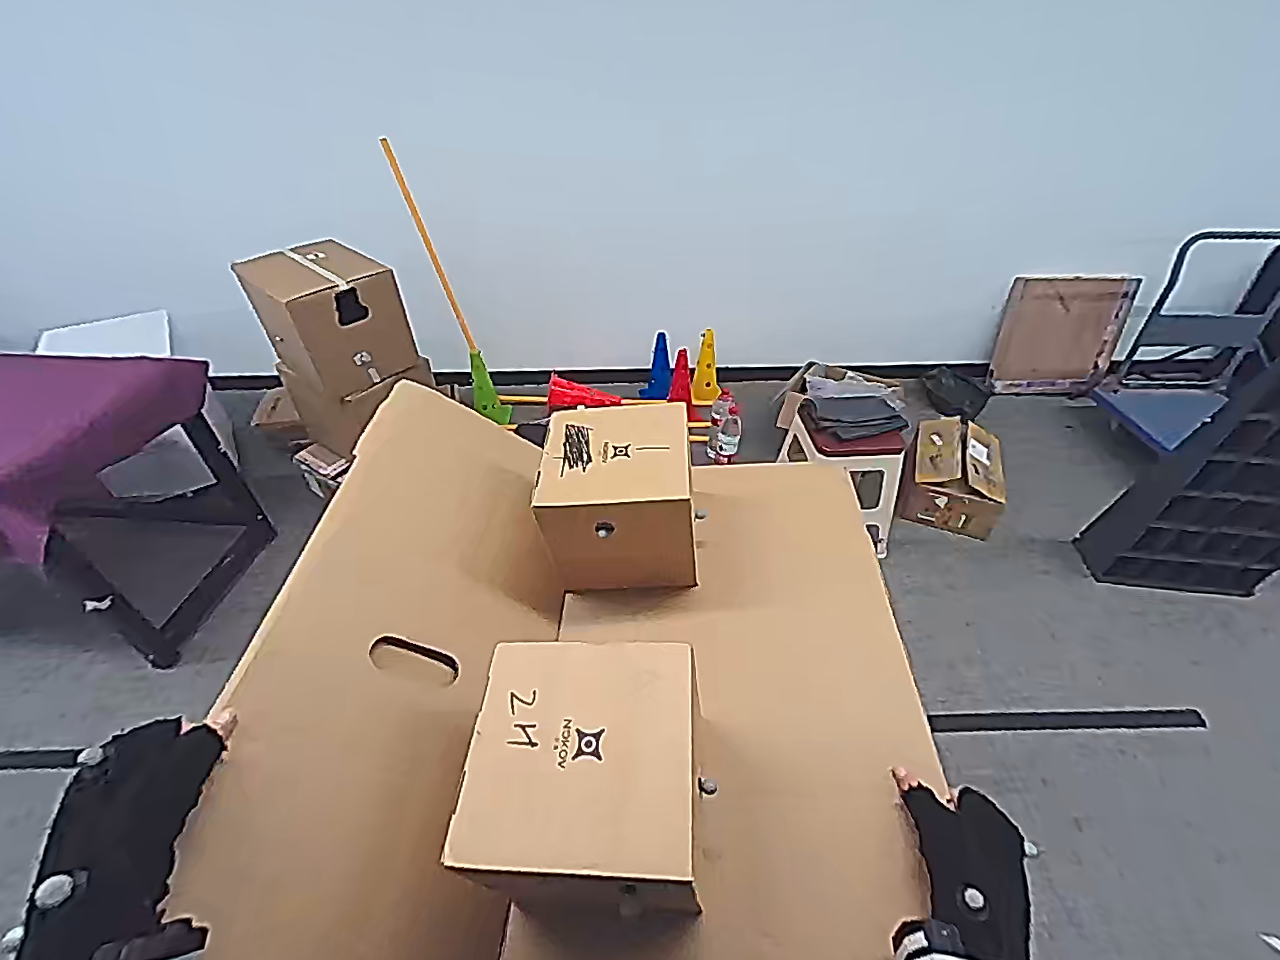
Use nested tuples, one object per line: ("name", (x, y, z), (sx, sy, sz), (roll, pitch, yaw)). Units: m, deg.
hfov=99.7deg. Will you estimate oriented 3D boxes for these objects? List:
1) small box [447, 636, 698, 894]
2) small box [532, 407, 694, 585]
("small box", (-0.038, 0.256, 0.486), (0.179, 0.176, 0.168), (-2, 46, 8))
("small box", (-0.023, 0.025, 0.706), (0.179, 0.176, 0.168), (-3, 46, 6))
